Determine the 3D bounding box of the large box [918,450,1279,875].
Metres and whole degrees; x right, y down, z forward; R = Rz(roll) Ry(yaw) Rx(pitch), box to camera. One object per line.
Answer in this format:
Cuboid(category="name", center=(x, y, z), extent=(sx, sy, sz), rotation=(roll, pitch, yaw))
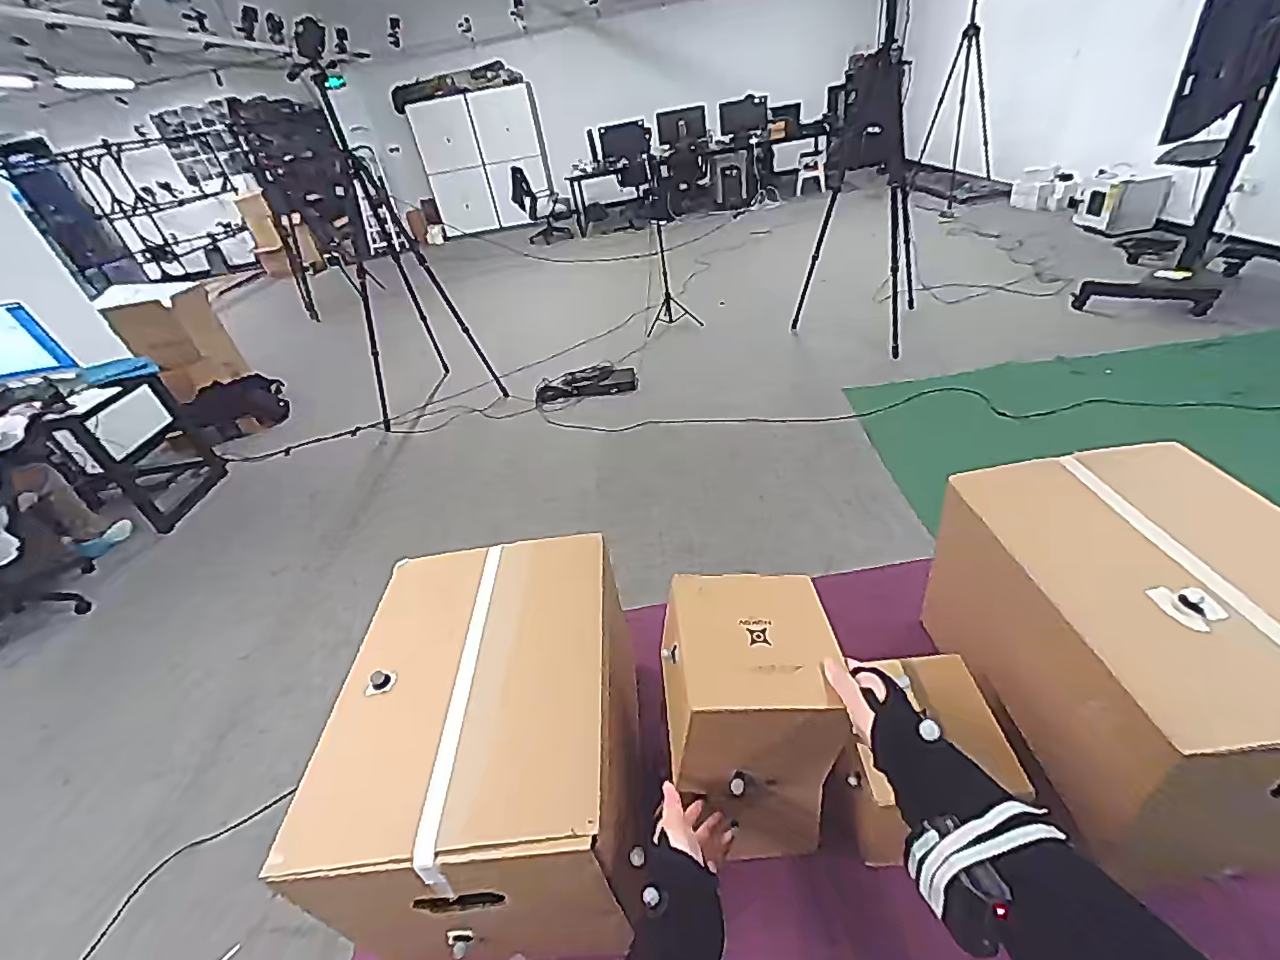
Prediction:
Cuboid(category="large box", center=(0.622, 0.211, 0.696), extent=(0.320, 0.320, 0.408), rotation=(-8, 36, 4))
